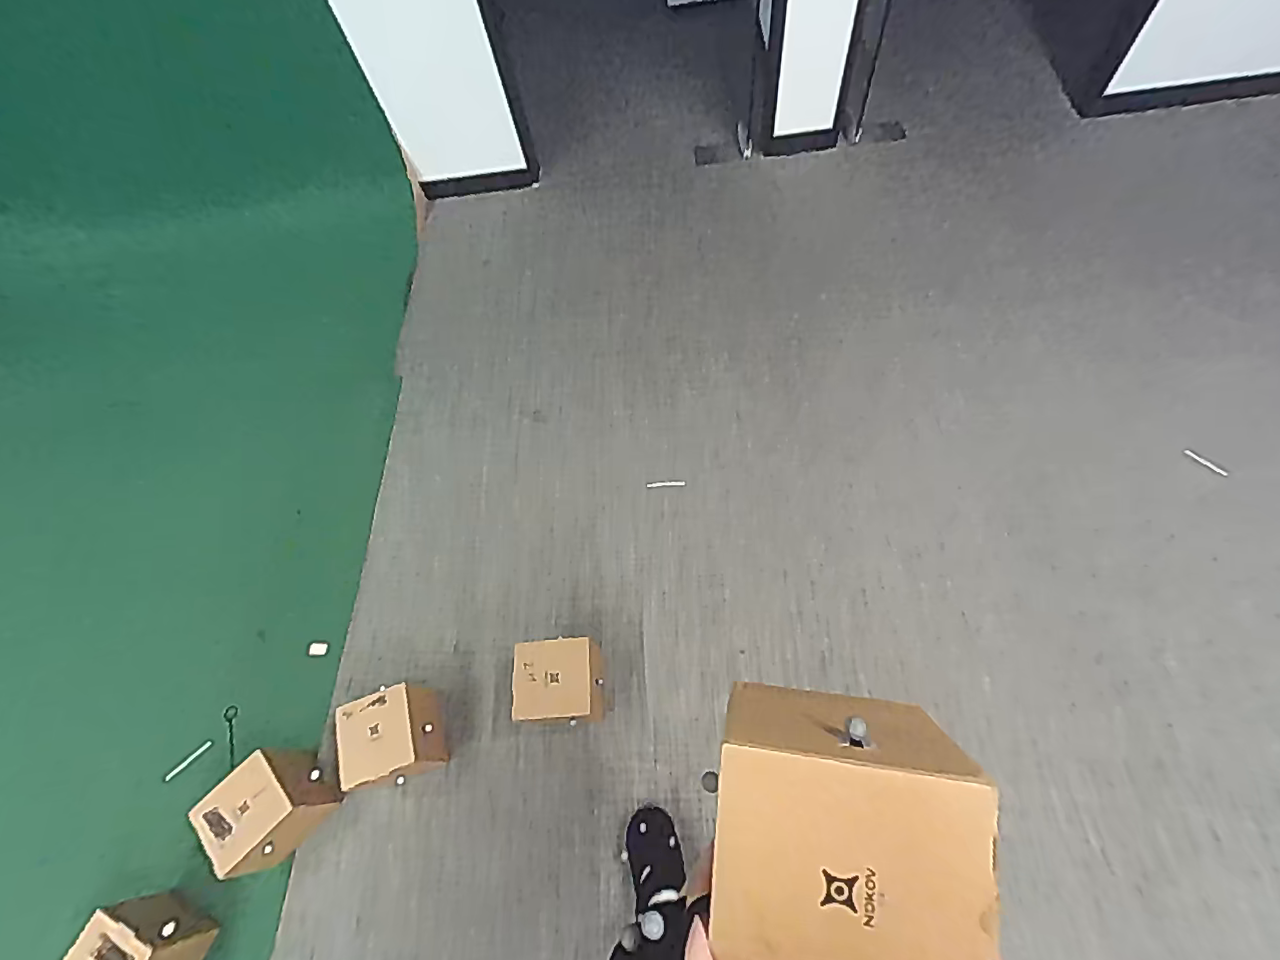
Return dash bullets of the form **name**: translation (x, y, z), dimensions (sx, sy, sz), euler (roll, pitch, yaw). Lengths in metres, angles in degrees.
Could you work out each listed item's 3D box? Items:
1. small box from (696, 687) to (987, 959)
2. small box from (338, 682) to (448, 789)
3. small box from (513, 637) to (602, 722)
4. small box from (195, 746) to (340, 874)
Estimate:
- **small box**: translation (0.145, 0.276, 0.432), dimensions (0.179, 0.176, 0.168), euler (4, 84, 11)
- **small box**: translation (-0.565, 0.588, 1.253), dimensions (0.168, 0.176, 0.179), euler (-20, 63, -3)
- **small box**: translation (-0.185, 0.469, 1.263), dimensions (0.179, 0.176, 0.168), euler (-6, 62, 4)
- **small box**: translation (-0.826, 0.730, 1.214), dimensions (0.168, 0.176, 0.179), euler (39, 73, 23)
